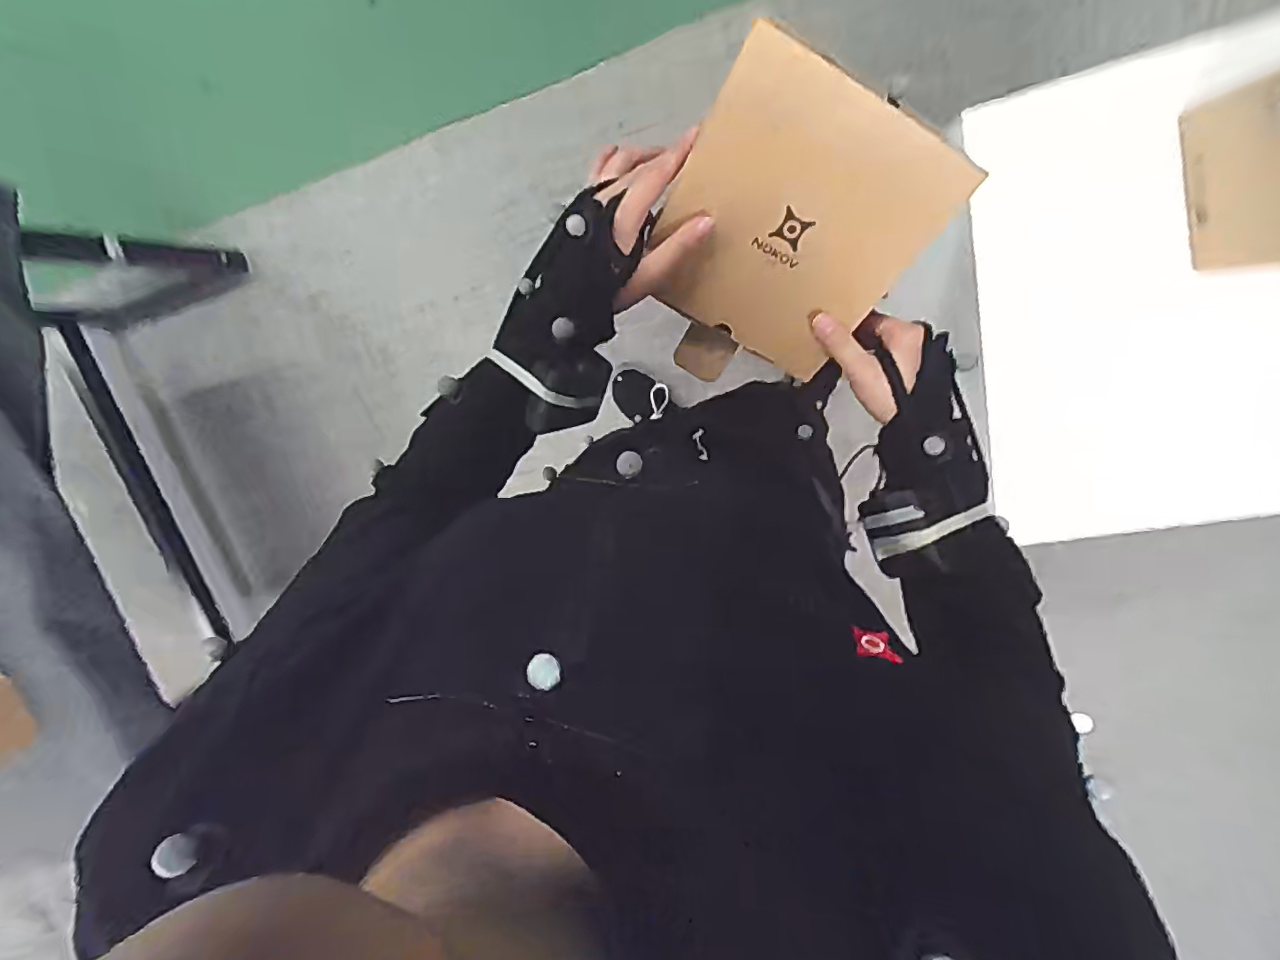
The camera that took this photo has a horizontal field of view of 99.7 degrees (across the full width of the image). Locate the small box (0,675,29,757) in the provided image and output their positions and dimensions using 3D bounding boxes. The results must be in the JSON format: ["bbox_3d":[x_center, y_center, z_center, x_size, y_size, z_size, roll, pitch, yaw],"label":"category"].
[{"bbox_3d":[-1.204,0.422,0.902,0.168,0.176,0.179,-9,104,12],"label":"small box"}]
